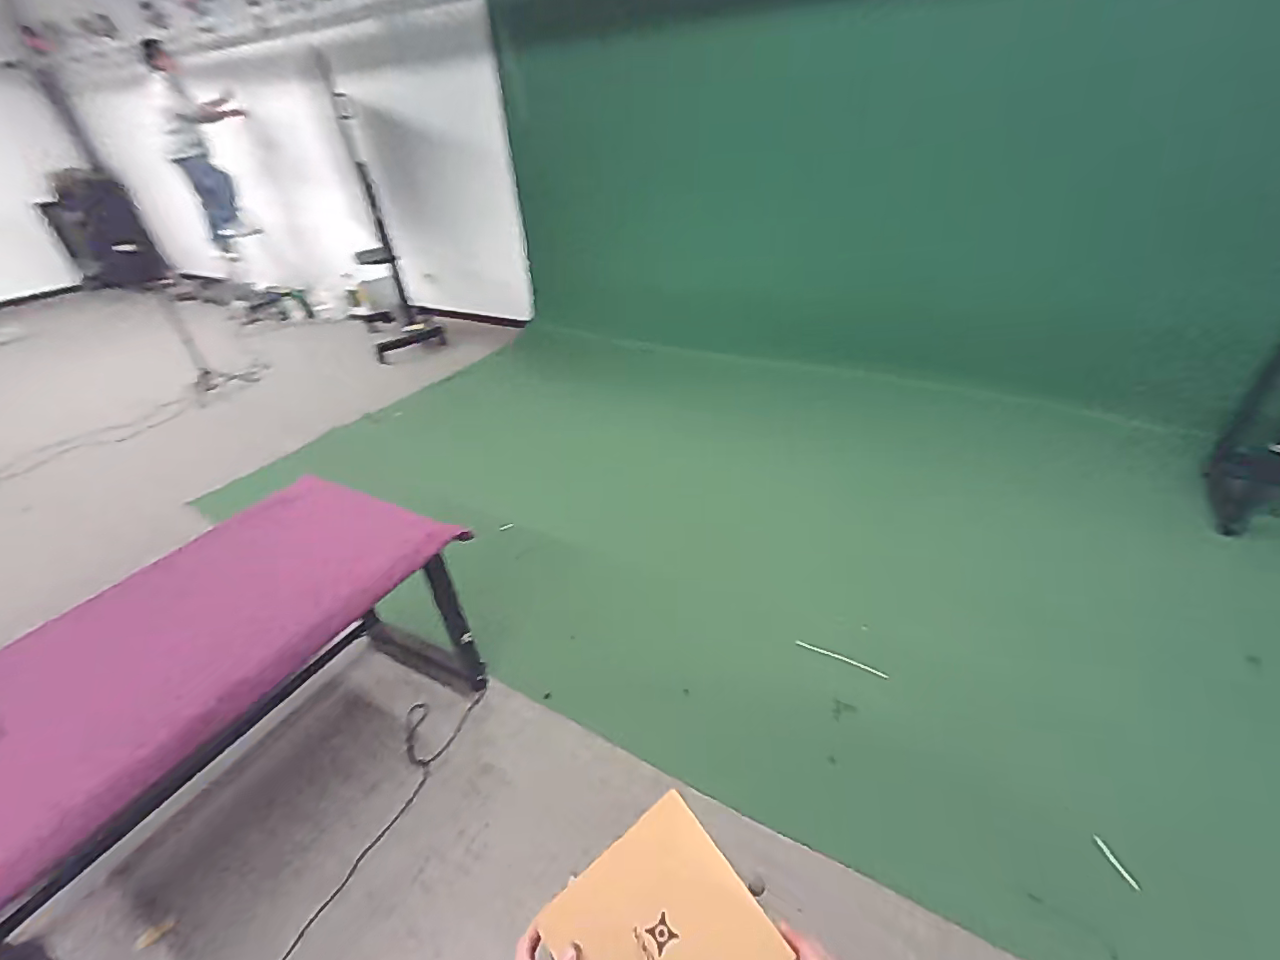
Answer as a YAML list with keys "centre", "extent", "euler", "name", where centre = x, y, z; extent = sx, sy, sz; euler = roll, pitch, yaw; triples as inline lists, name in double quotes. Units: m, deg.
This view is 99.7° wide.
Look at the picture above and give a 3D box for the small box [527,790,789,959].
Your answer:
- centre: [0.025, 0.450, 0.532]
  extent: [0.179, 0.176, 0.168]
  euler: [-37, 51, -16]
  name: "small box"
